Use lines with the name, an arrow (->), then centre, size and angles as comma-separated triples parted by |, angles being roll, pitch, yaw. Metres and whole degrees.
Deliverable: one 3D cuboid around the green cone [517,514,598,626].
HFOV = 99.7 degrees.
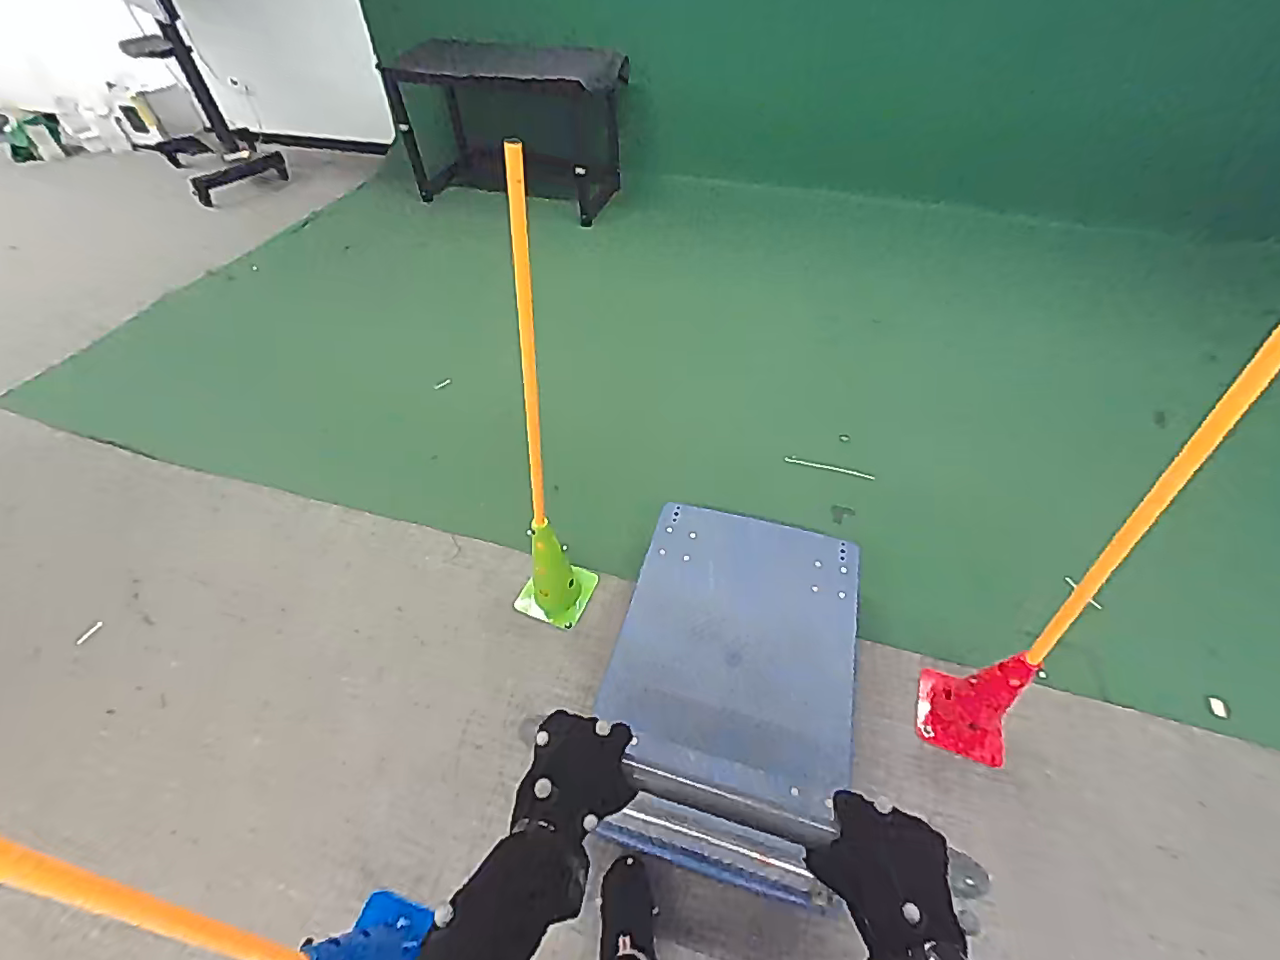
green cone -> -0.253, 0.221, 1.528 | 0.202, 0.368, 0.200 | 16, 50, 16
